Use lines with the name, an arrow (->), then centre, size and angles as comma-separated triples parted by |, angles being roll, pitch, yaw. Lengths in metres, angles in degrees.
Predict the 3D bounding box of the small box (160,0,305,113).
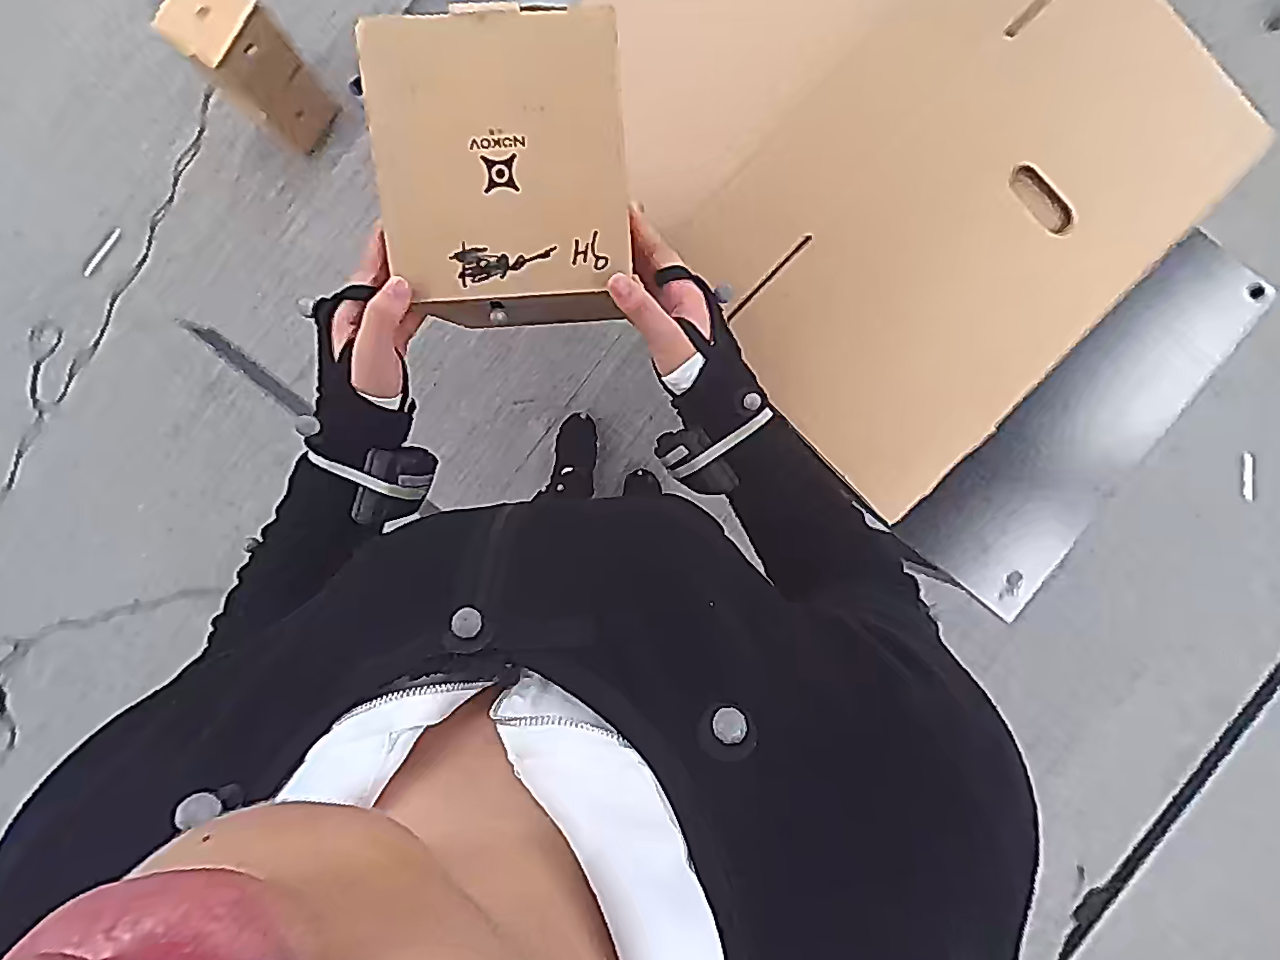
small box -> -0.918, -0.999, 1.237 | 0.168, 0.176, 0.179 | 32, 89, -2

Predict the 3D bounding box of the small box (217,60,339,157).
small box -> -0.921, -0.995, 1.400 | 0.168, 0.176, 0.179 | 35, 91, -1

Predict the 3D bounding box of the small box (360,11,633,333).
small box -> -0.095, -0.223, 0.438 | 0.168, 0.176, 0.179 | -5, 99, 0
